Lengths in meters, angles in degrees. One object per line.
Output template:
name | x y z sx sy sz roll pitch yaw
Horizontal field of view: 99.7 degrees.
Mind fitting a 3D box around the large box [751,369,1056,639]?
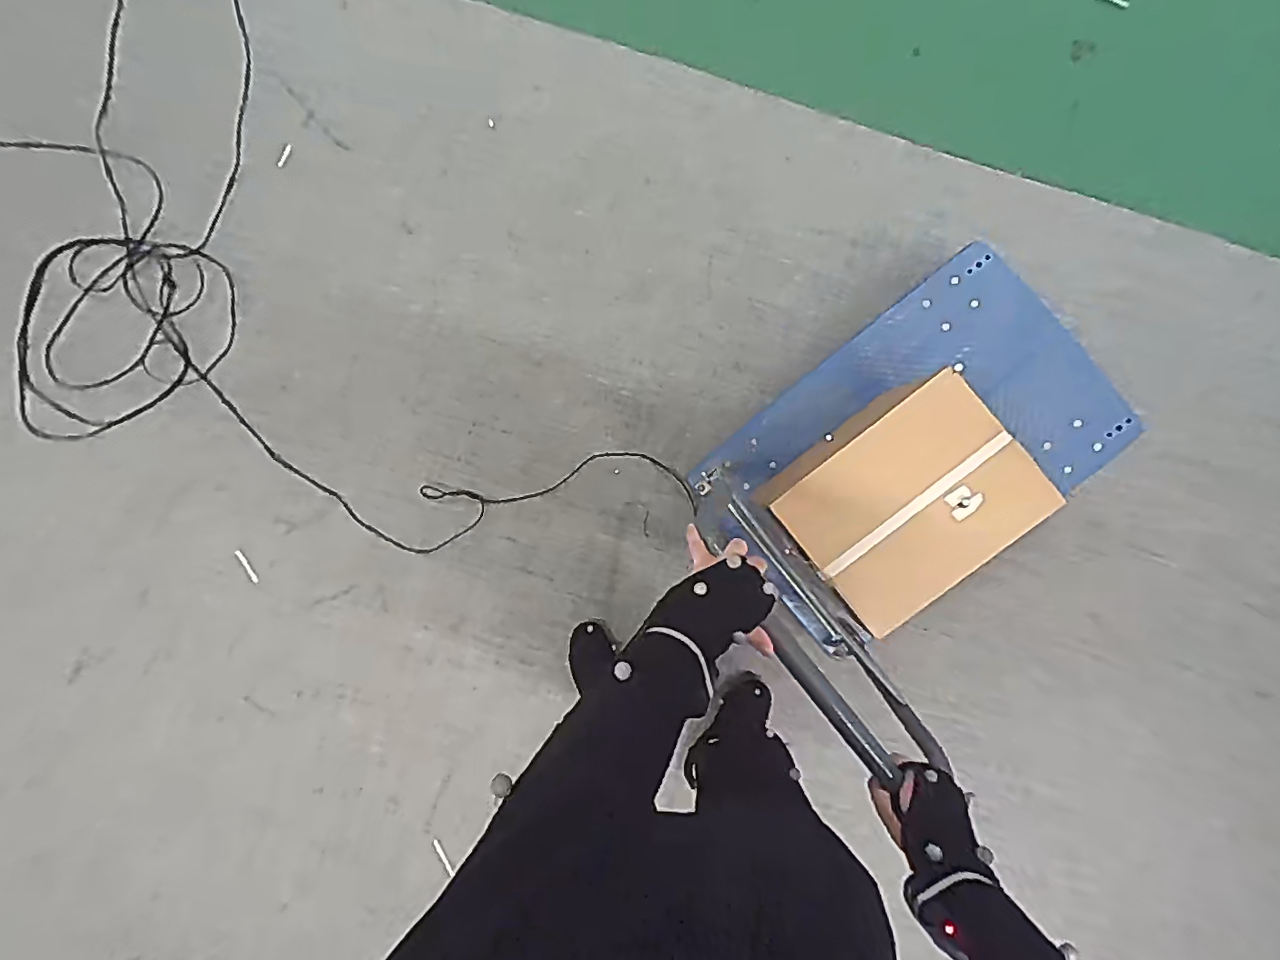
large box | 0.491 0.046 1.107 0.408 0.320 0.320 -39 87 3
